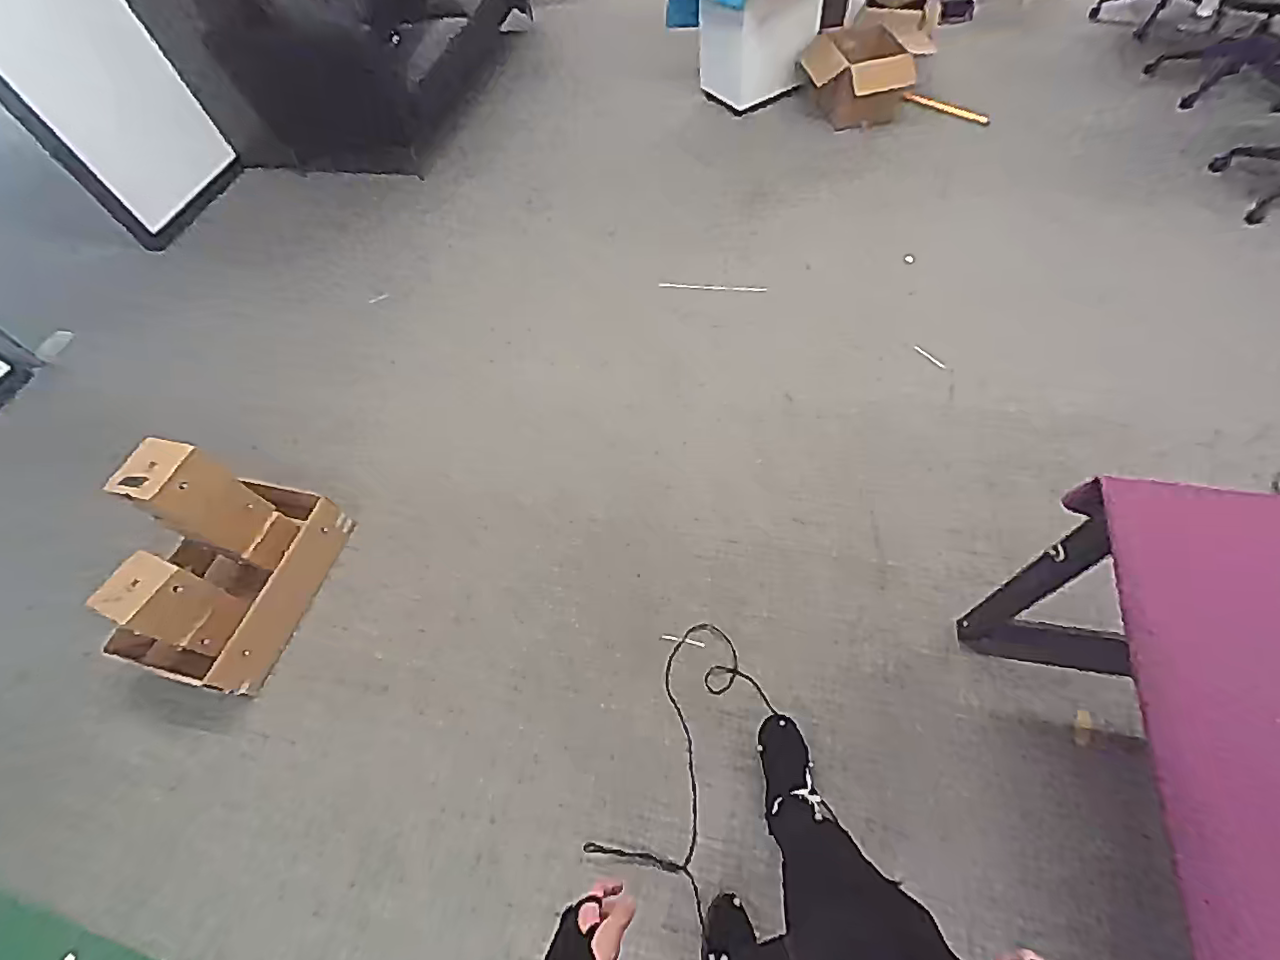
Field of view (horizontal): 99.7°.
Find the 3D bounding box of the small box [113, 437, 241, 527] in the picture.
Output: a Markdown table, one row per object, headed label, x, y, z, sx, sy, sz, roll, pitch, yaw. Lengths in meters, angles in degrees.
| label | x | y | z | sx | sy | sz | roll | pitch | yaw |
| --- | --- | --- | --- | --- | --- | --- | --- | --- | --- |
| small box | -1.263 | 0.010 | 1.493 | 0.168 | 0.176 | 0.179 | 11 | 60 | 13 |
